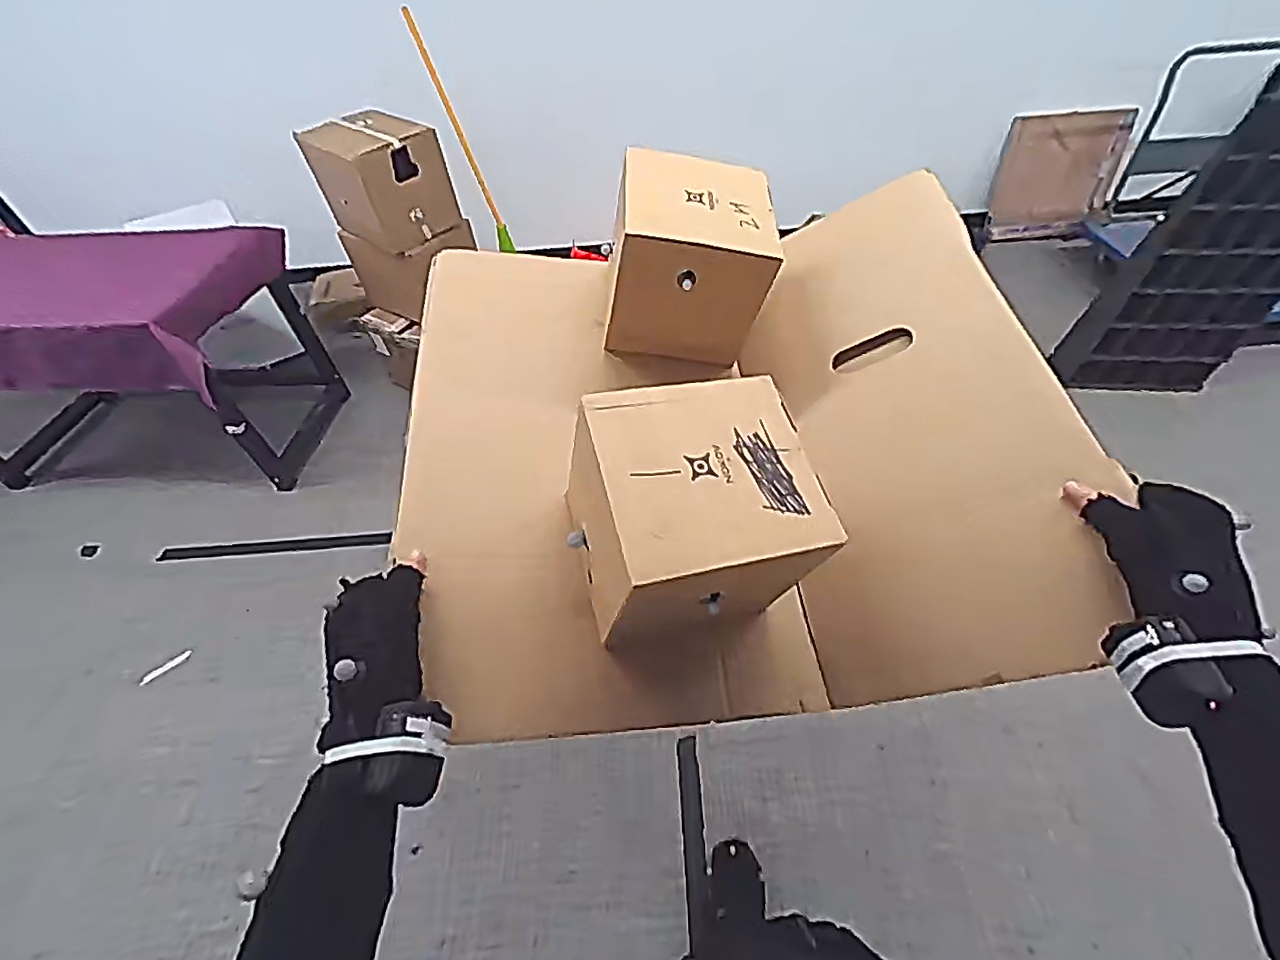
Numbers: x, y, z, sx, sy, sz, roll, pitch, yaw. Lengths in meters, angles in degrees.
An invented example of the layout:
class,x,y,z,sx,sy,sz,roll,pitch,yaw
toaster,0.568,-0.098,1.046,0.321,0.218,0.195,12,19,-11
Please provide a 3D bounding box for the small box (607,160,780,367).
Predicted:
class,x,y,z,sx,sy,sz,roll,pitch,yaw
small box,0.055,-0.264,0.684,0.179,0.176,0.168,6,59,-9

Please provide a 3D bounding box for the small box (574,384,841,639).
class,x,y,z,sx,sy,sz,roll,pitch,yaw
small box,0.043,0.034,0.502,0.179,0.176,0.168,-9,62,-16
